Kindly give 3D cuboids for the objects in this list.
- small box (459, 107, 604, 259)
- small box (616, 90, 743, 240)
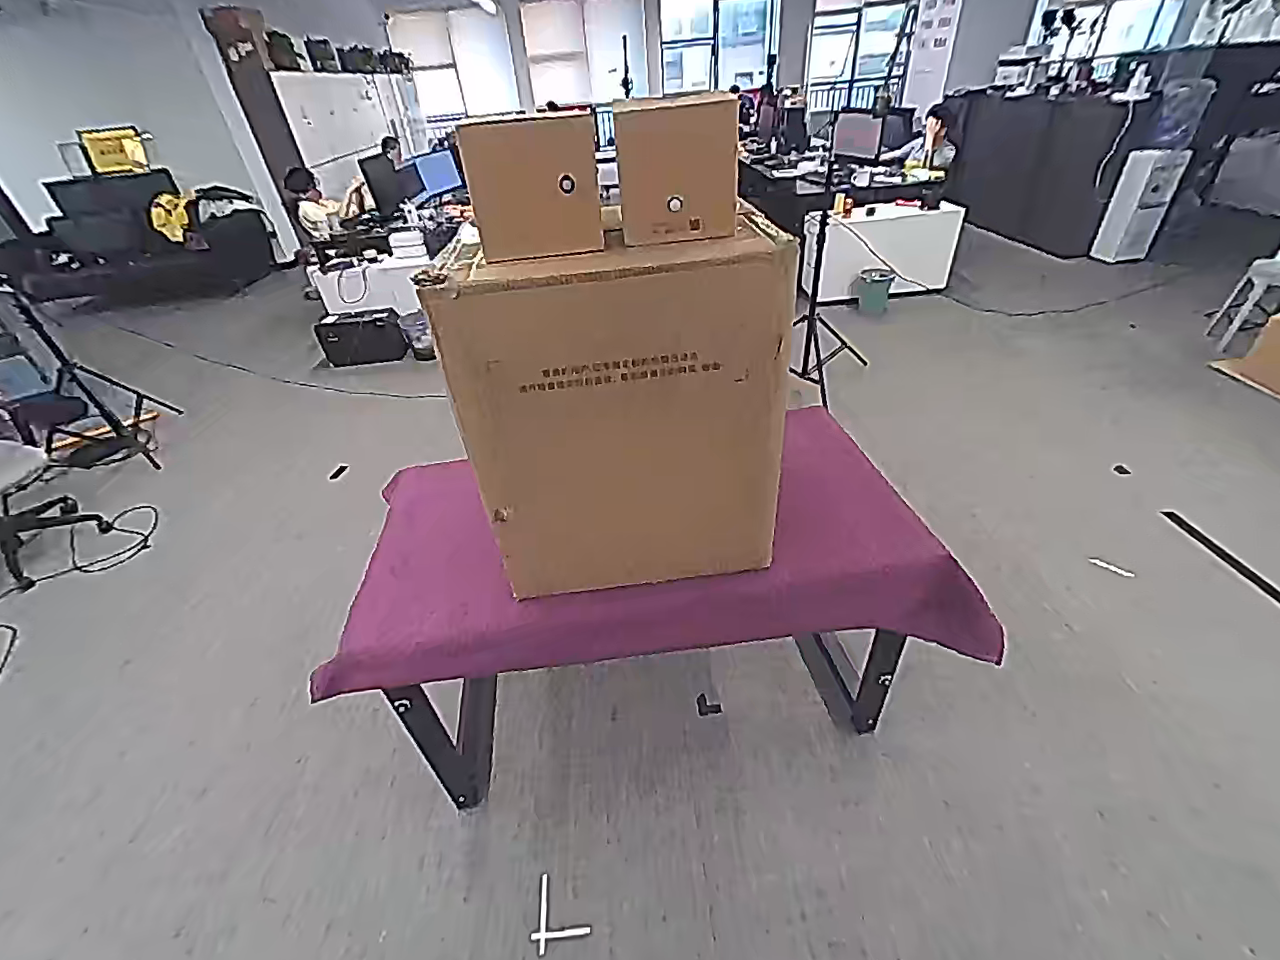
[{"bbox_3d":[-0.149,-0.435,0.788,0.179,0.176,0.168,-10,36,-7],"label":"small box"},{"bbox_3d":[0.056,-0.469,0.805,0.168,0.176,0.179,-5,37,3],"label":"small box"}]
